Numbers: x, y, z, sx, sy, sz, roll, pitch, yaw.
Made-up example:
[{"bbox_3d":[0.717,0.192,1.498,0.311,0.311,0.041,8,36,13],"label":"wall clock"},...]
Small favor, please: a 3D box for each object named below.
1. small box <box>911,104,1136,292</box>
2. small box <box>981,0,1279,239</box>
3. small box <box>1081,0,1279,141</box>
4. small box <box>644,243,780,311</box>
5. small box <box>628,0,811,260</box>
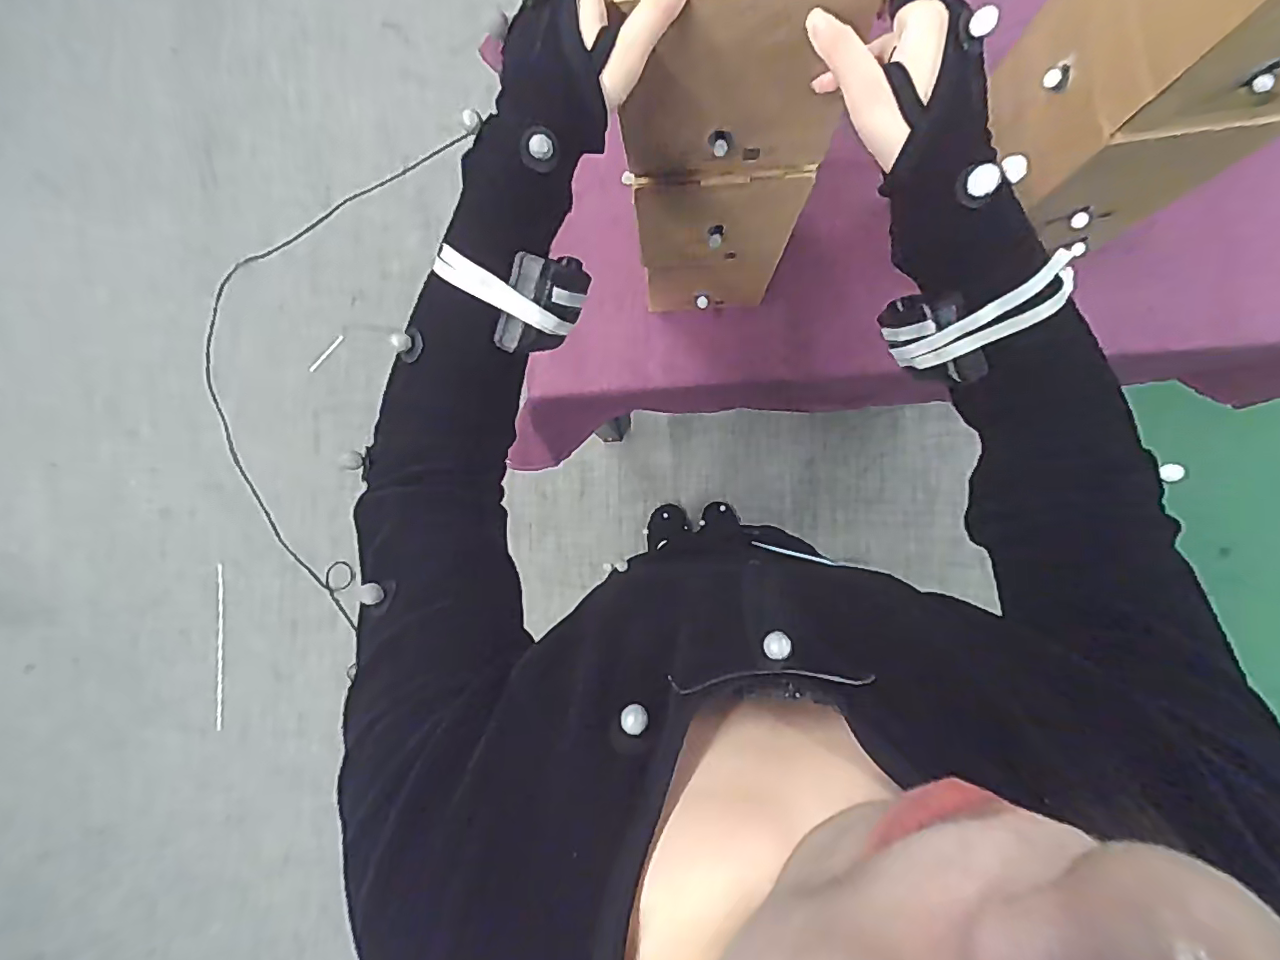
[{"bbox_3d":[0.486,-0.362,0.710,0.179,0.176,0.168,-4,86,3],"label":"small box"},{"bbox_3d":[0.476,-0.373,0.547,0.168,0.176,0.179,-4,88,4],"label":"small box"},{"bbox_3d":[0.462,-0.388,0.386,0.168,0.176,0.179,-7,88,4],"label":"small box"},{"bbox_3d":[0.088,-0.345,0.732,0.168,0.176,0.179,-2,88,3],"label":"small box"},{"bbox_3d":[0.076,-0.346,0.568,0.168,0.176,0.179,-1,88,3],"label":"small box"}]
